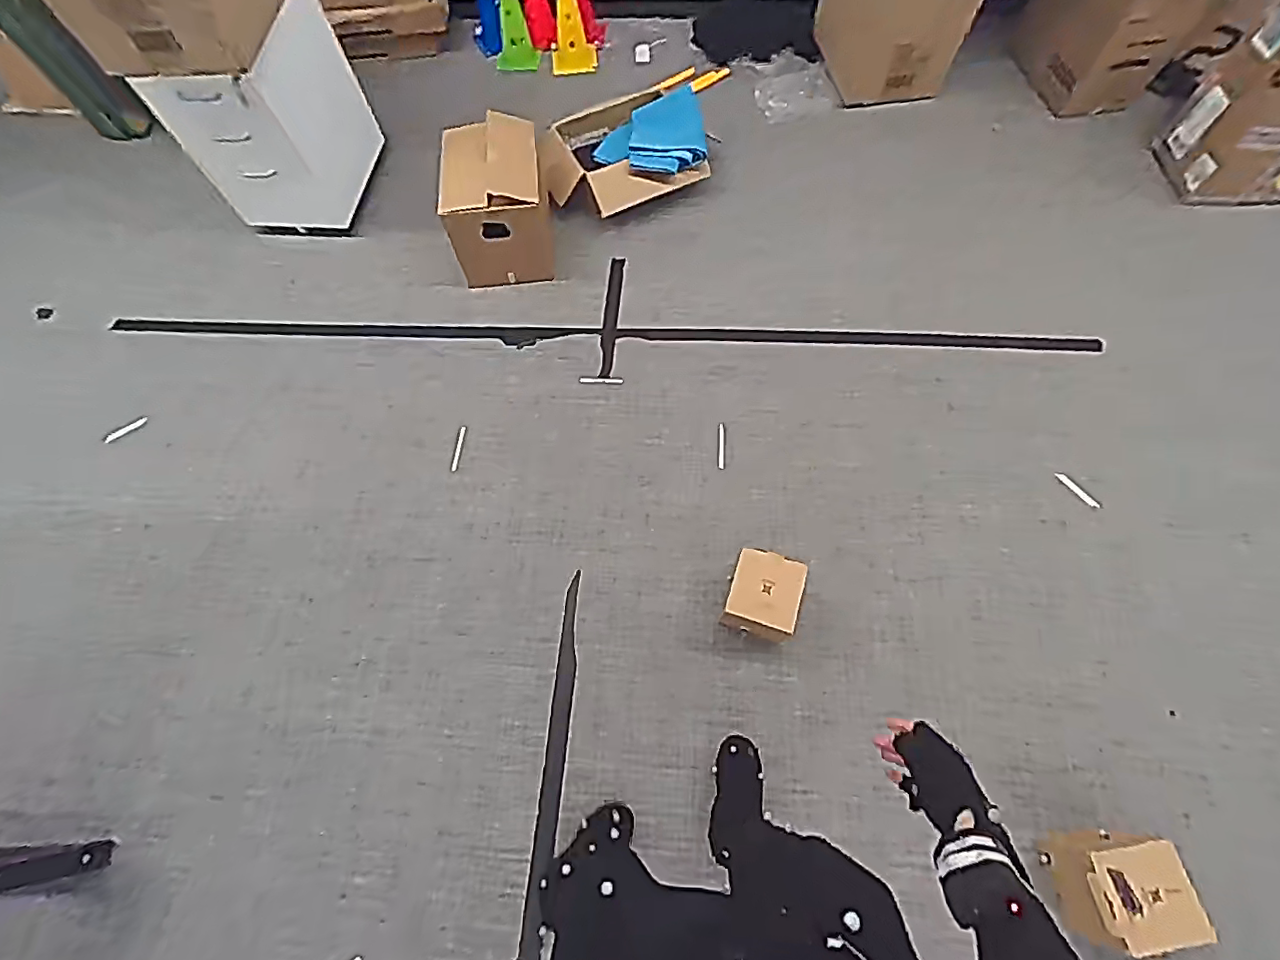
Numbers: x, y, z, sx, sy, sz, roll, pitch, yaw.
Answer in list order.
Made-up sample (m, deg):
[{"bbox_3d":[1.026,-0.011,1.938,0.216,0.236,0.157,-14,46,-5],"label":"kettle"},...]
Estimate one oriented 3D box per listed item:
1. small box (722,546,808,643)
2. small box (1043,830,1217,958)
[{"bbox_3d":[0.309,0.294,1.366,0.168,0.176,0.179,16,68,10],"label":"small box"},{"bbox_3d":[0.970,0.828,1.098,0.179,0.176,0.168,-8,65,-2],"label":"small box"}]
